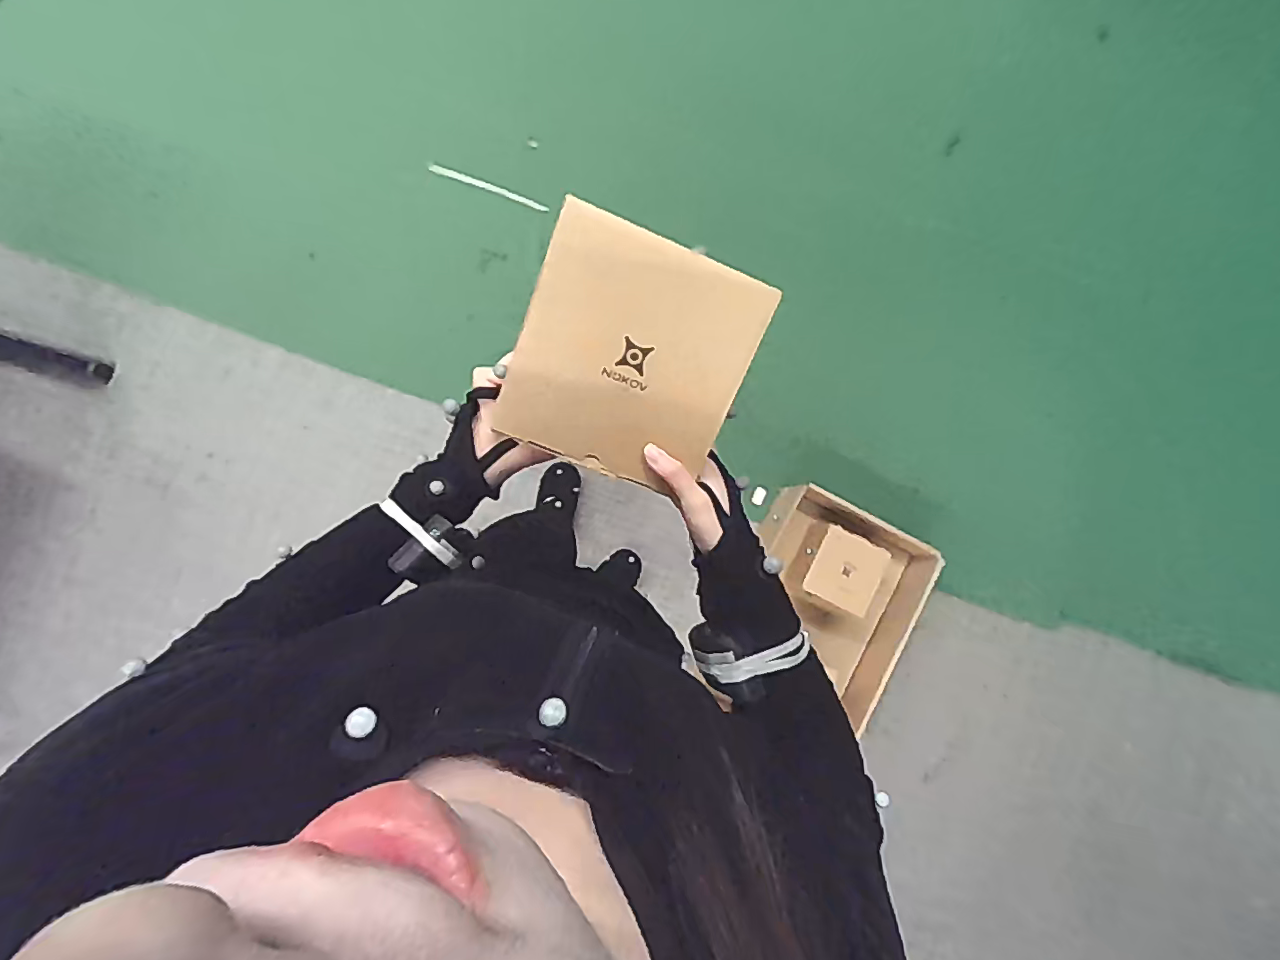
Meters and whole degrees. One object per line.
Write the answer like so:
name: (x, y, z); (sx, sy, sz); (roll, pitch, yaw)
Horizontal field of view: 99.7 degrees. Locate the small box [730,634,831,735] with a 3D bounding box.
small box: (0.345, 0.503, 1.363); (0.179, 0.176, 0.168); (25, 85, 2)
